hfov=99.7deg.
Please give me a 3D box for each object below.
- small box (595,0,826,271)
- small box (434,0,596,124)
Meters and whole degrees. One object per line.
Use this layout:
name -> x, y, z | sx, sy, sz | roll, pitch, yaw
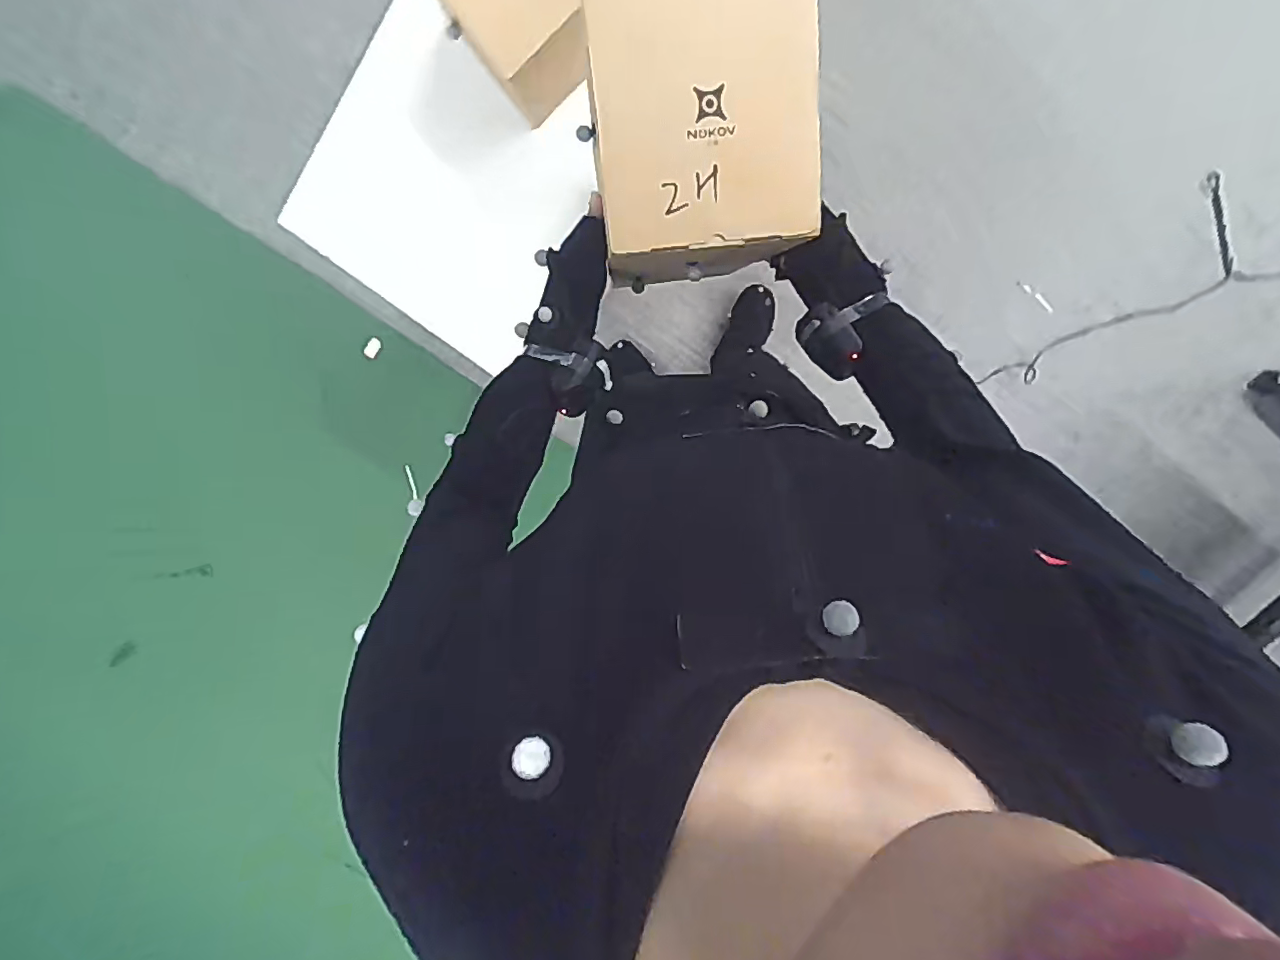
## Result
small box -> 0.049, -0.289, 0.470 | 0.168, 0.176, 0.179 | -5, 105, -2
small box -> -0.131, -0.557, 0.617 | 0.179, 0.176, 0.168 | -40, 104, 10
